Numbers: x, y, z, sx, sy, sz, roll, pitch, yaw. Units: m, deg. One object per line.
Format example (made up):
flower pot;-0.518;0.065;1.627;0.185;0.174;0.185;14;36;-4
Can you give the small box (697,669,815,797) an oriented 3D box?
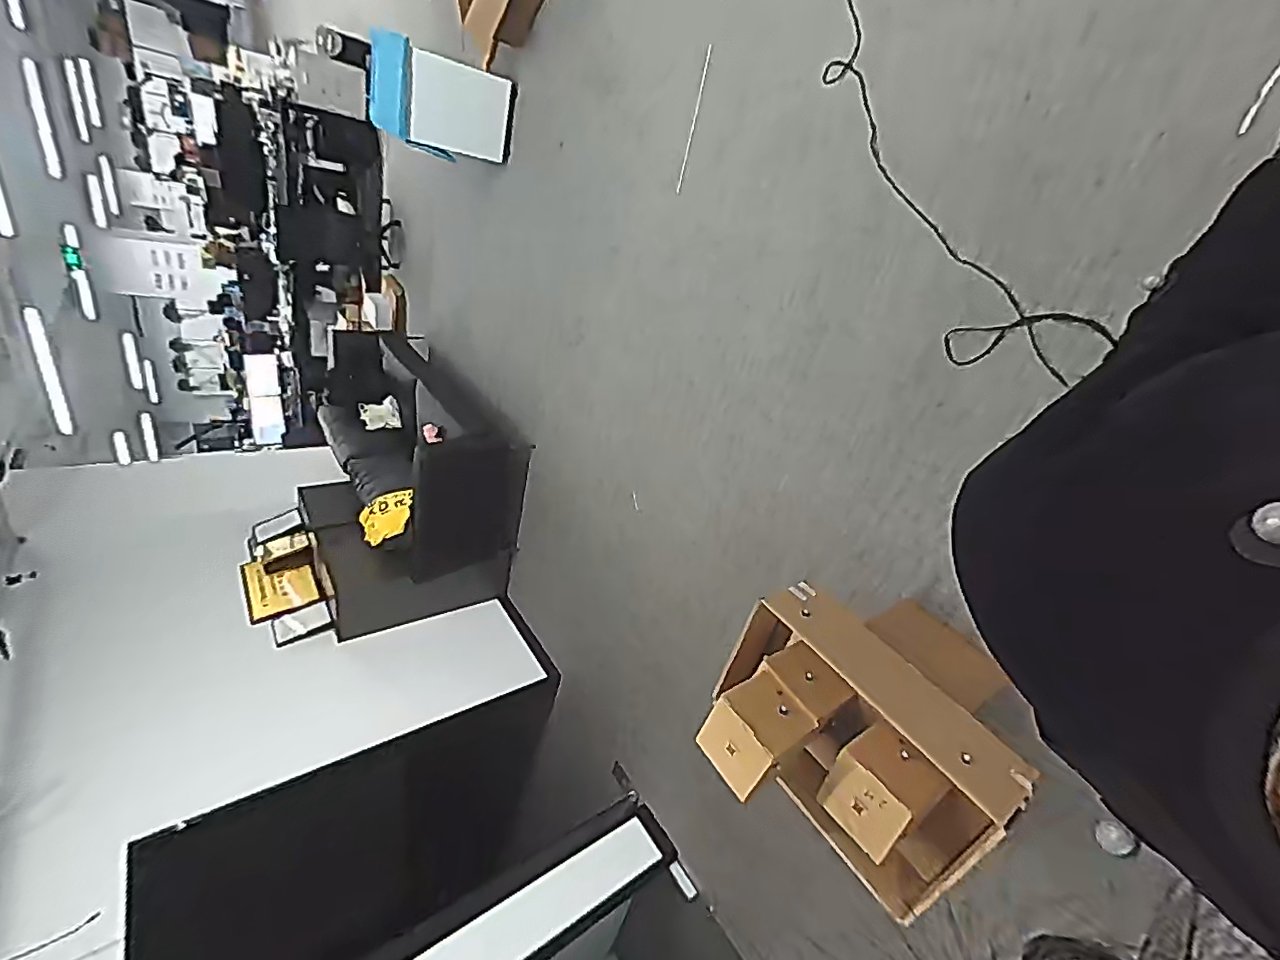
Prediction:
small box;0.263;0.567;1.225;0.168;0.176;0.179;45;129;37

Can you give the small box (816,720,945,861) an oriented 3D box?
small box;0.522;0.664;1.172;0.168;0.176;0.179;39;125;42
